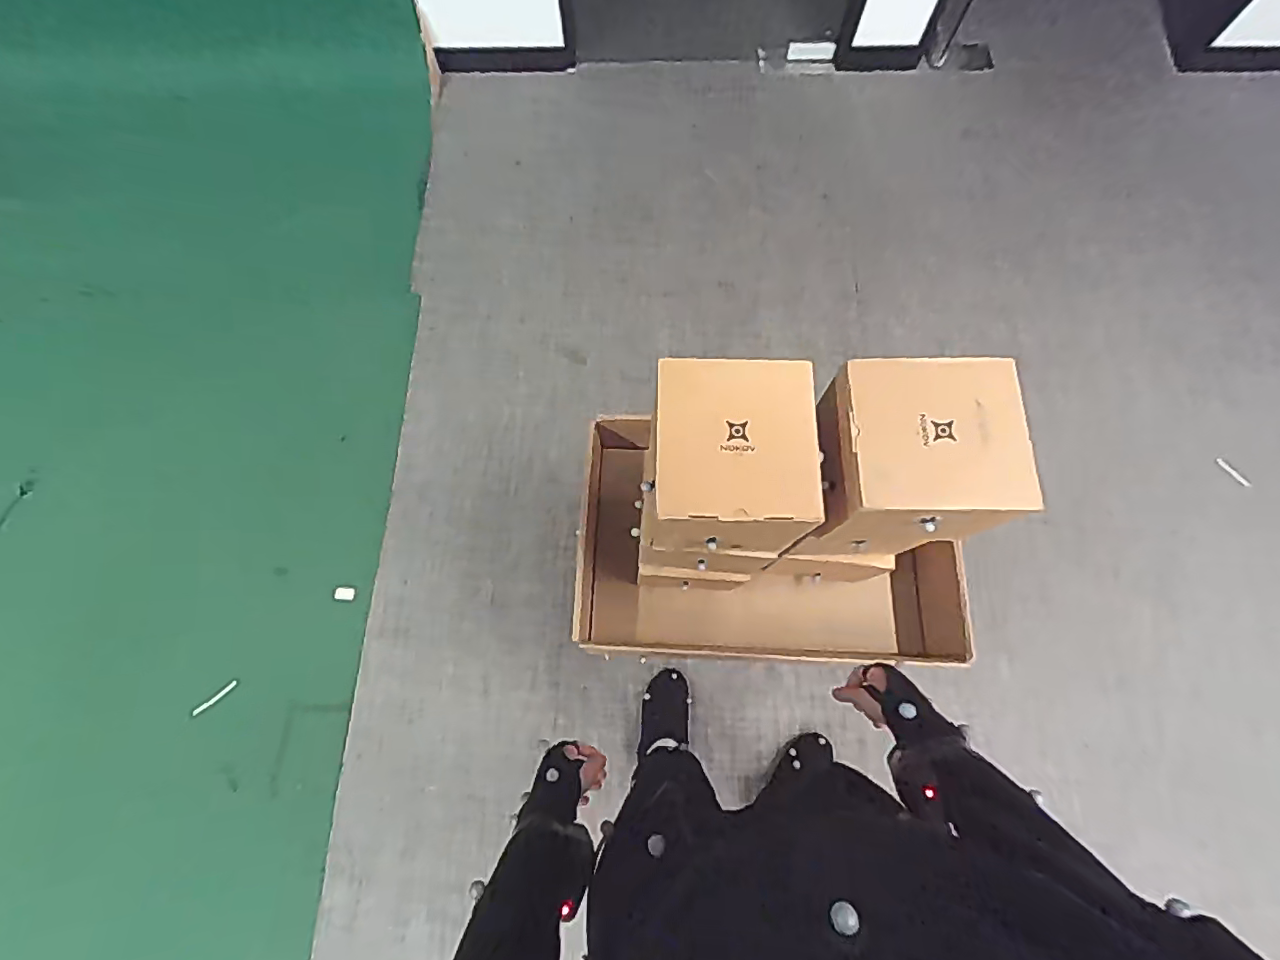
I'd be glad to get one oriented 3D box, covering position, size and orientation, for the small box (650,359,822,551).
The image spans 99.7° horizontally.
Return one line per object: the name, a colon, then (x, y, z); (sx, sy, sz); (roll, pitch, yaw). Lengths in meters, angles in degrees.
small box: (0.096, -0.021, 0.624); (0.168, 0.176, 0.179); (0, 73, 1)
